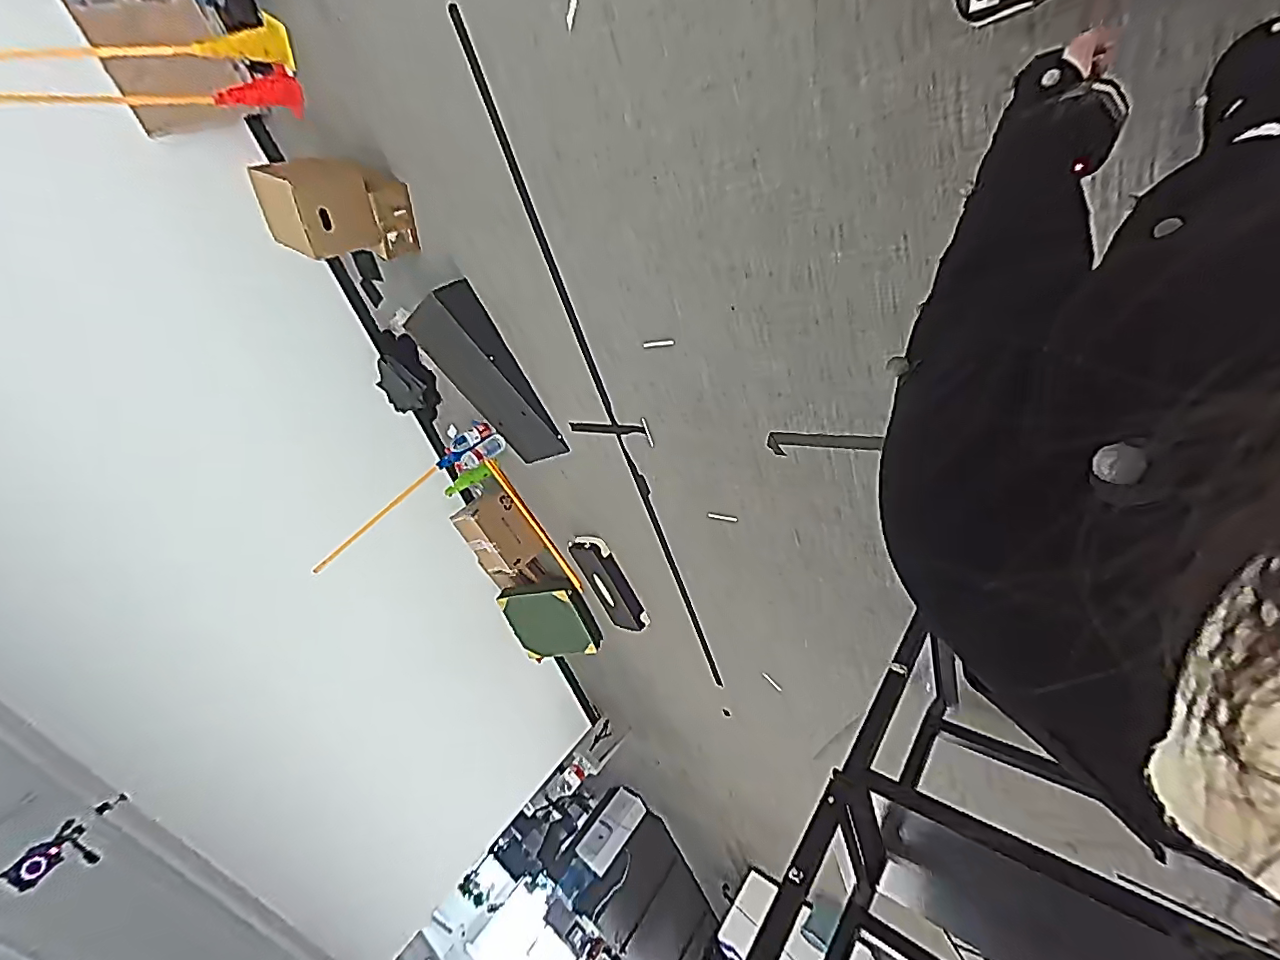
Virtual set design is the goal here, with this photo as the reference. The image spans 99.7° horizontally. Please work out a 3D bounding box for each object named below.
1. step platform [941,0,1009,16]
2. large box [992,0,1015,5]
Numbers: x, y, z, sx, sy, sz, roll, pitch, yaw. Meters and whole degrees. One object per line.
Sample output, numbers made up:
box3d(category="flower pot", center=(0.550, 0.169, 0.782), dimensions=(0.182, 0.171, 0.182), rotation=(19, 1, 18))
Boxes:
box3d(category="step platform", center=(0.774, -0.897, 0.708), dimensions=(0.684, 0.204, 0.286), rotation=(15, 133, 41))
box3d(category="large box", center=(0.637, -0.775, 0.554), dimensions=(0.408, 0.320, 0.320), rotation=(12, 131, 43))
